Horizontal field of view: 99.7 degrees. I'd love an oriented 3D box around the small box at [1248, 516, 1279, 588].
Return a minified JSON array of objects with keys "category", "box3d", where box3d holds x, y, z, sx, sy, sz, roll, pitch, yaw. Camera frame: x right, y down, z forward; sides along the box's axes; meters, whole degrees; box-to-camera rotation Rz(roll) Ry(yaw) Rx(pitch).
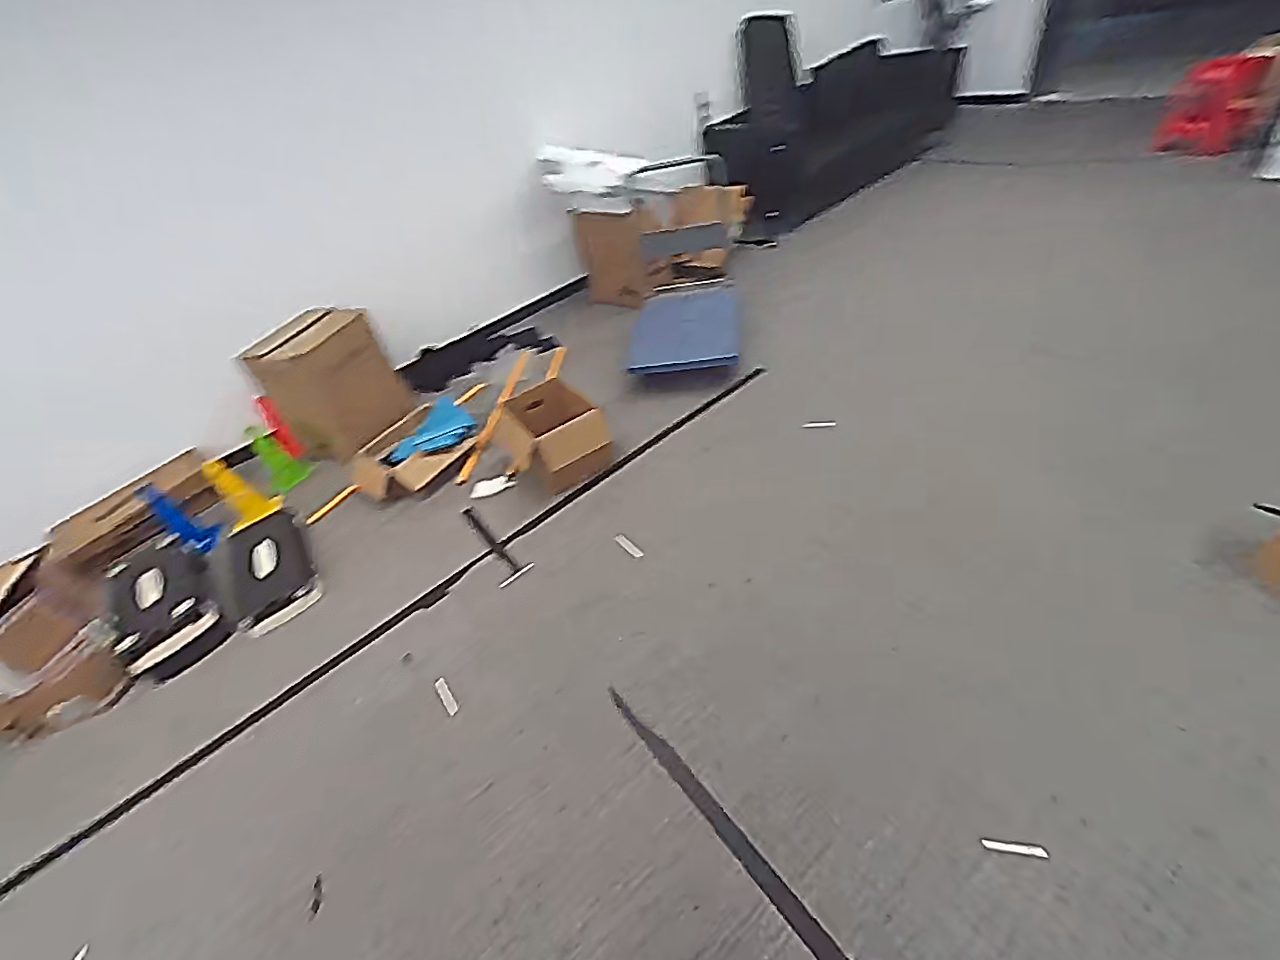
[{"category":"small box","box3d":[1.786,0.191,1.439,0.179,0.176,0.168,-40,46,-25]}]
